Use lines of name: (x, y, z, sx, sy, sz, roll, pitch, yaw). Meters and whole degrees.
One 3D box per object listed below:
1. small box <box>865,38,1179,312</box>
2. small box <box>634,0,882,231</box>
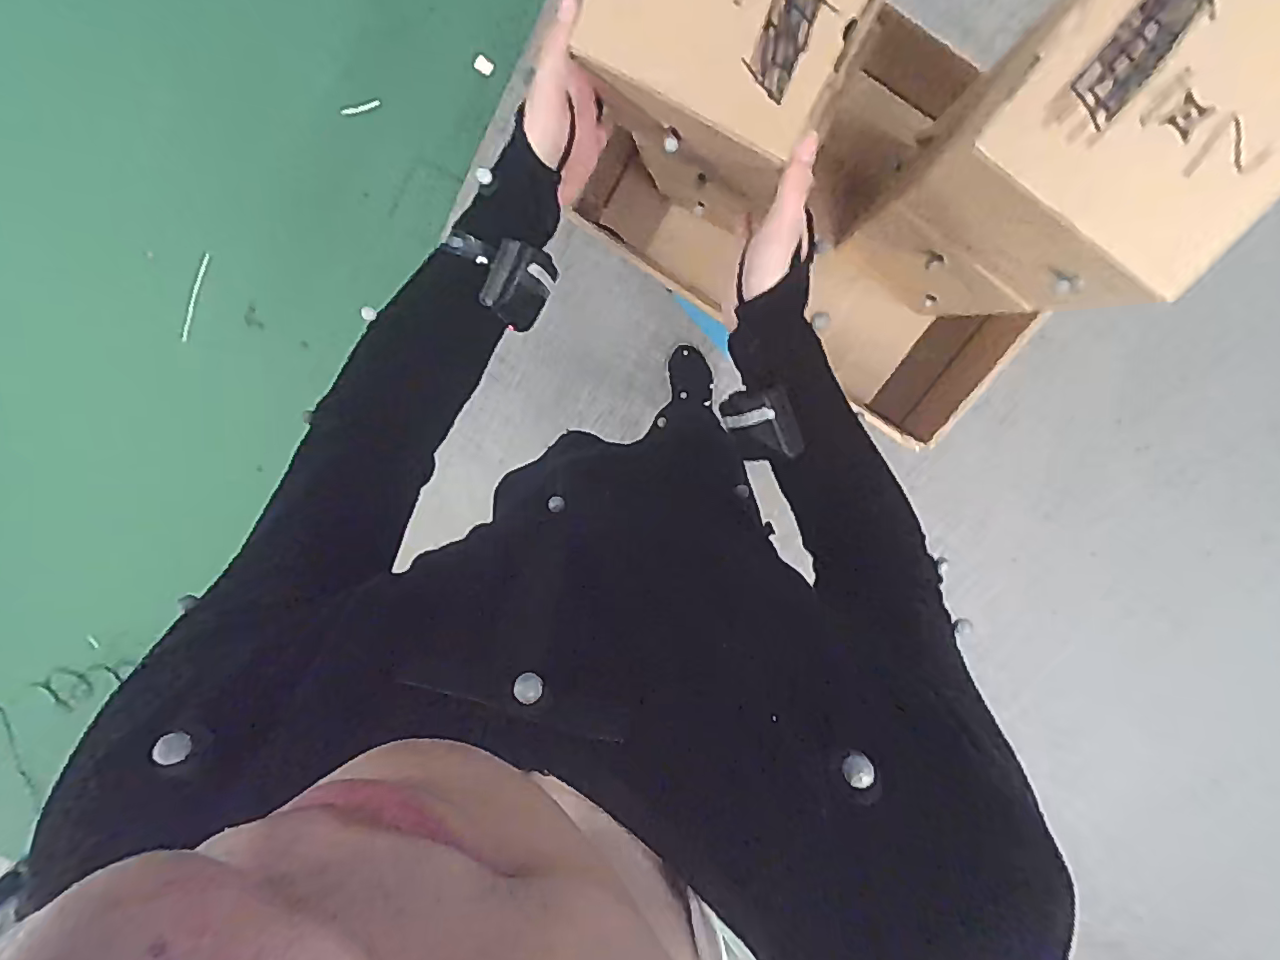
small box: (0.370, -0.293, 0.570, 0.179, 0.176, 0.168, 37, 109, -3)
small box: (0.115, -0.392, 0.581, 0.179, 0.176, 0.168, 28, 108, -2)
